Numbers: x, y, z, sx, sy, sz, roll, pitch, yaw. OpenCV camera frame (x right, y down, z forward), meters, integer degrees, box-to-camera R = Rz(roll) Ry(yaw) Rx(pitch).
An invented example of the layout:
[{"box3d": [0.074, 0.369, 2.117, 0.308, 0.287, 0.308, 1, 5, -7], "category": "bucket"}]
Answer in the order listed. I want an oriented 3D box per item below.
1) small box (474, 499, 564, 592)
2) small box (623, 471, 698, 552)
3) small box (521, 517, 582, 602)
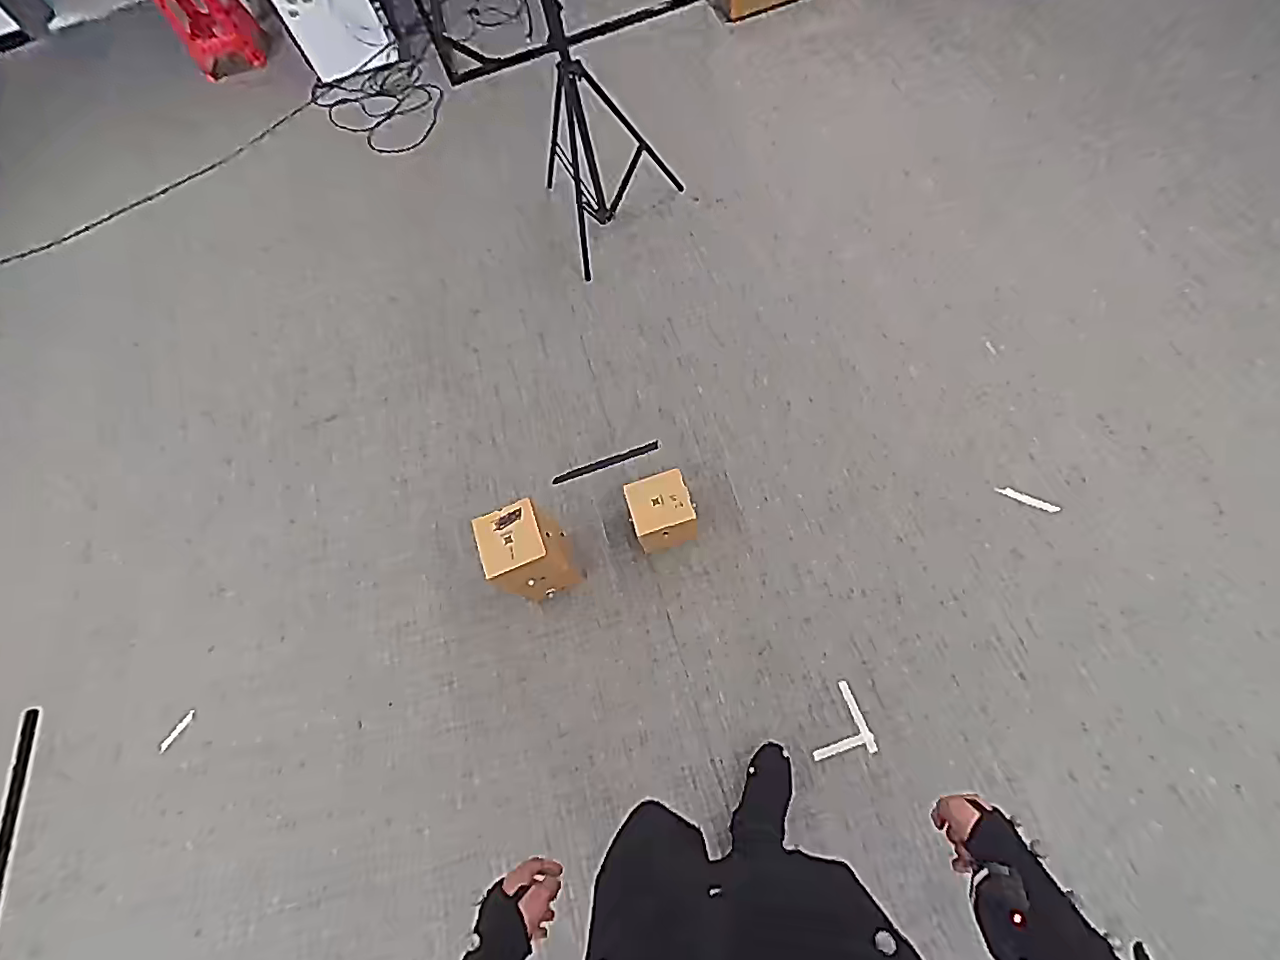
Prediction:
[{"box3d": [-0.322, 0.181, 1.454, 0.168, 0.176, 0.179, -23, 65, 0], "category": "small box"}, {"box3d": [0.064, 0.099, 1.605, 0.179, 0.176, 0.168, -17, 65, 1], "category": "small box"}, {"box3d": [-0.290, 0.241, 1.603, 0.168, 0.176, 0.179, -24, 64, -1], "category": "small box"}]
